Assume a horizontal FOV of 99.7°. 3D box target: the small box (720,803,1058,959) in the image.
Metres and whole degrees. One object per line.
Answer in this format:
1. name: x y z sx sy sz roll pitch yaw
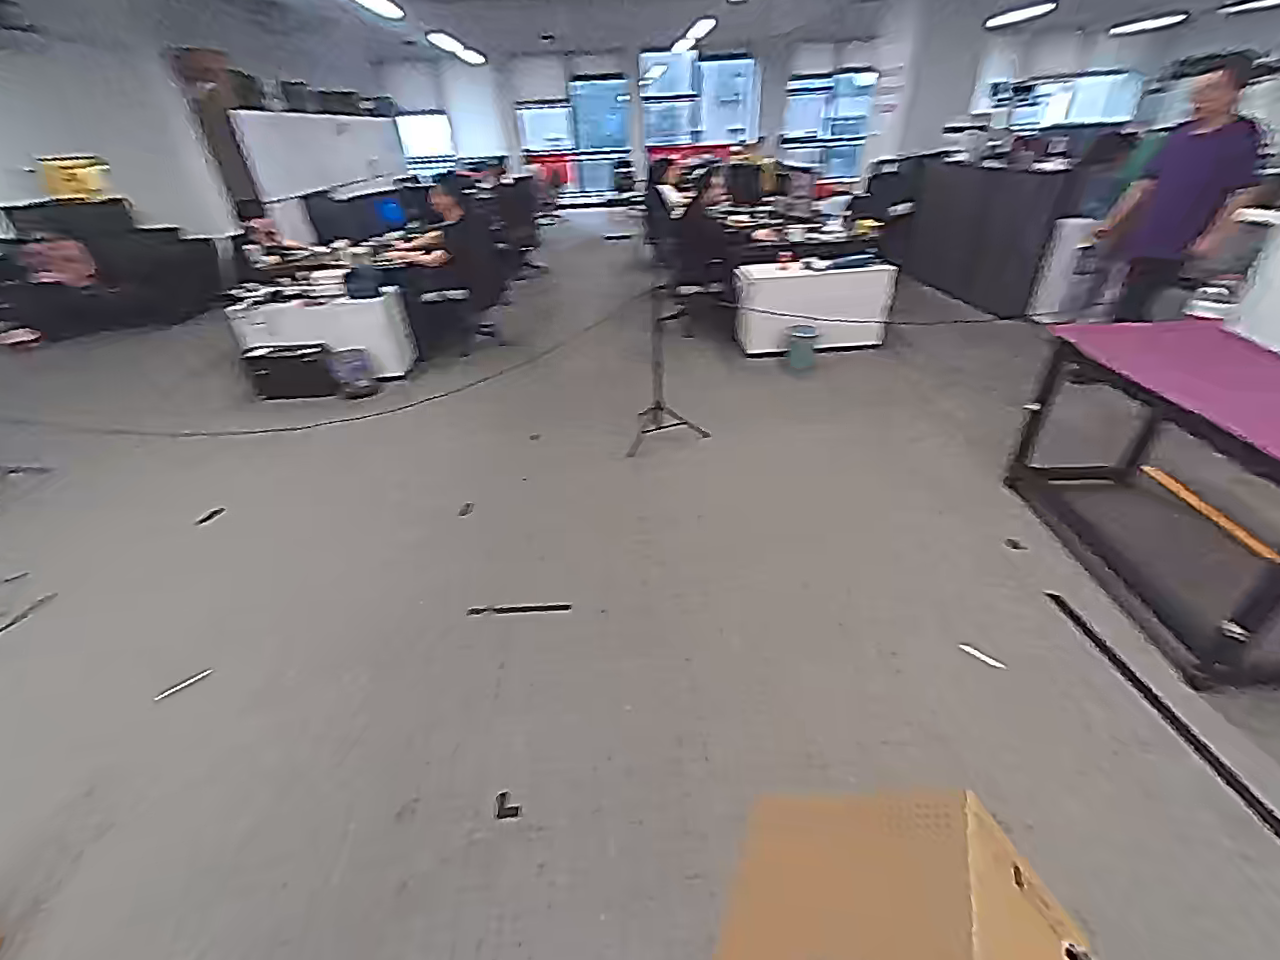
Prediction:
1. small box: 0.164 0.341 0.357 0.179 0.168 0.176 -31 14 39
